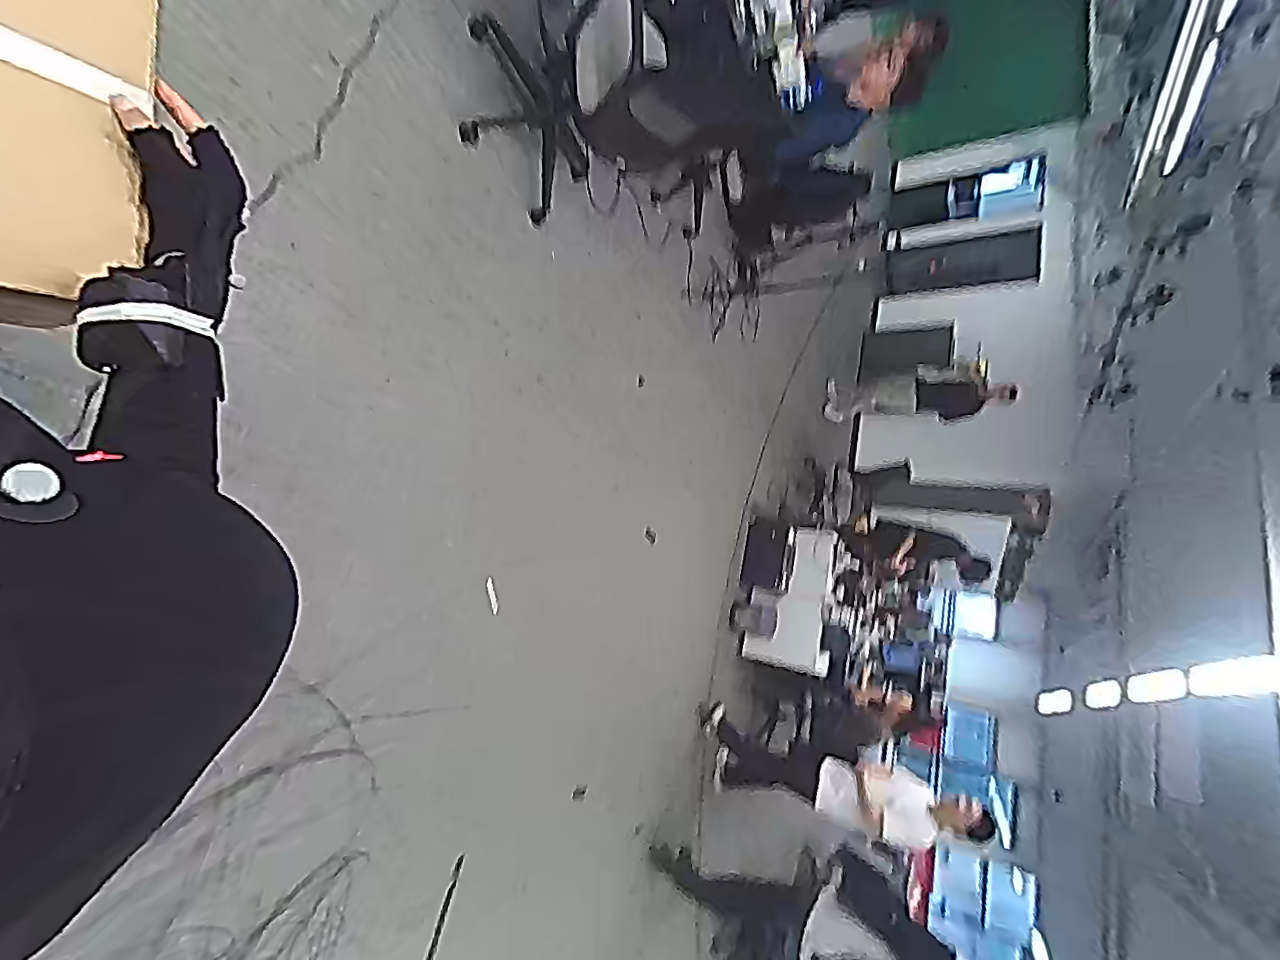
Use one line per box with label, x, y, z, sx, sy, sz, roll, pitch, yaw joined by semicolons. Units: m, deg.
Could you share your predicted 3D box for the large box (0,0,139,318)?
large box;-0.630;-0.303;0.335;0.408;0.320;0.320;-3;100;-58
